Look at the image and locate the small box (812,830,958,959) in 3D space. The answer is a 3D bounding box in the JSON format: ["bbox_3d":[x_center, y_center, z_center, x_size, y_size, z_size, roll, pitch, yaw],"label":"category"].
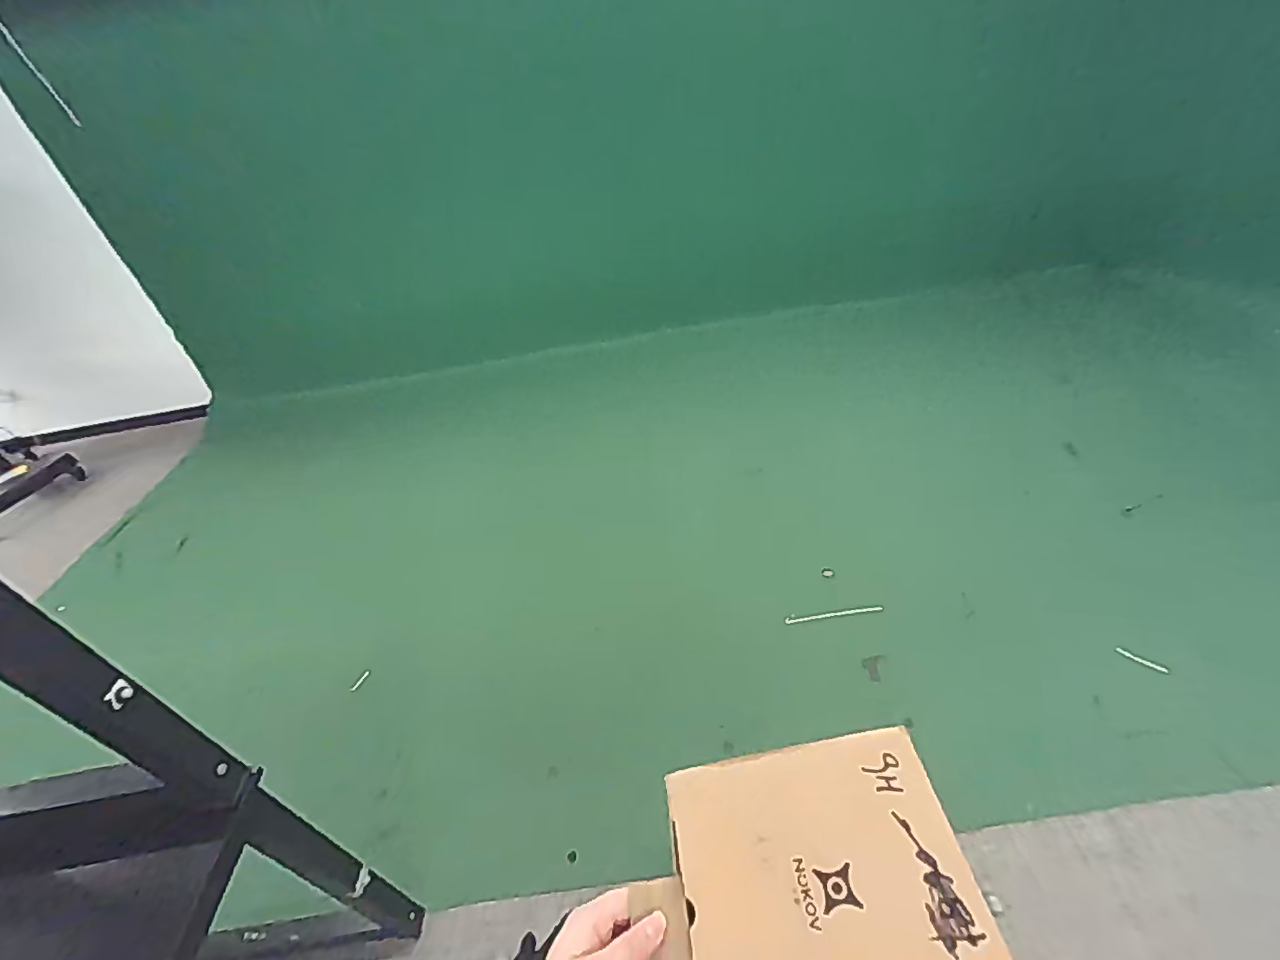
[{"bbox_3d":[0.431,0.789,0.981,0.179,0.176,0.168,-22,41,-15],"label":"small box"}]
